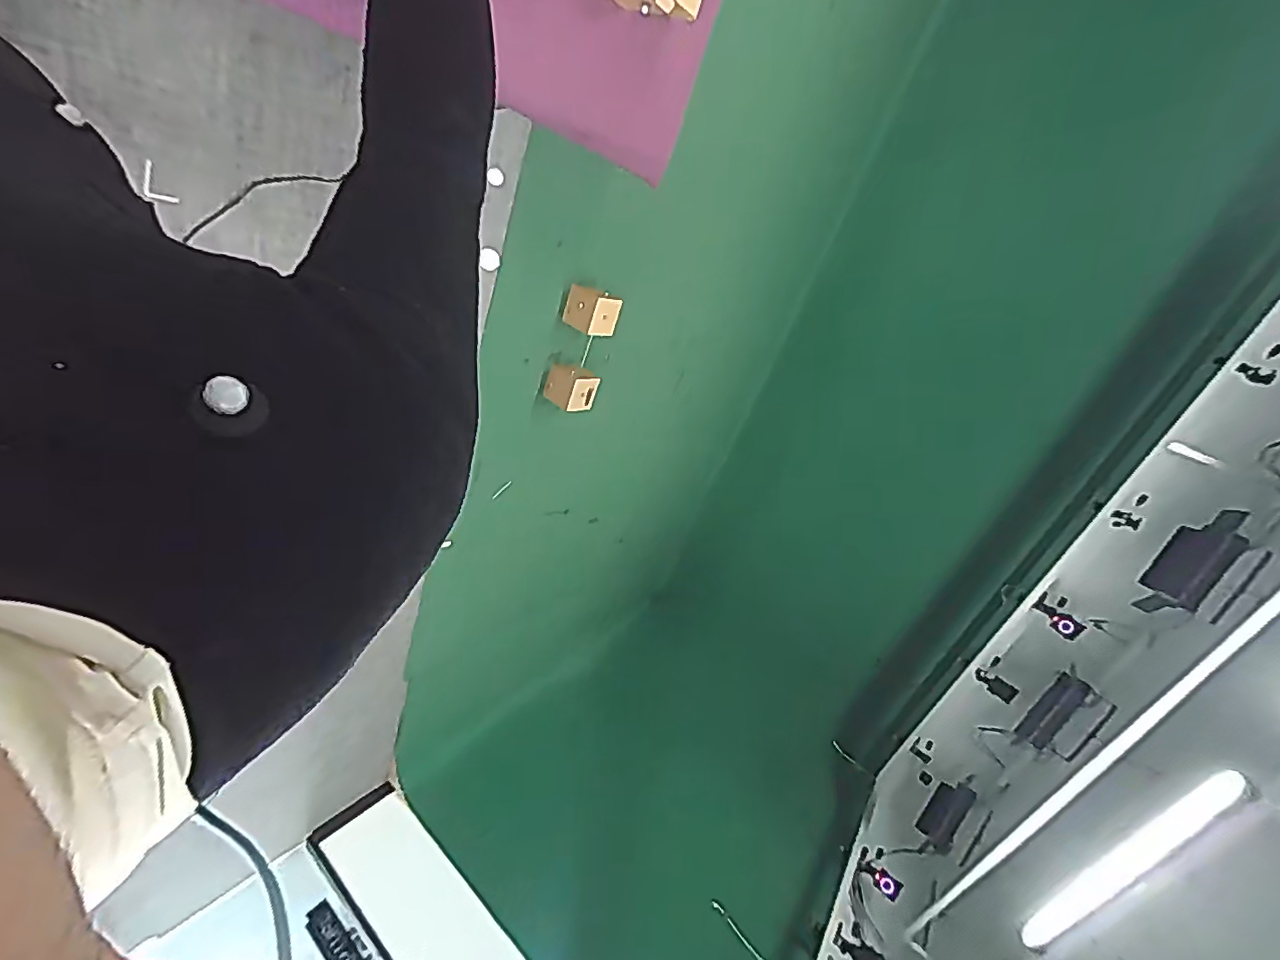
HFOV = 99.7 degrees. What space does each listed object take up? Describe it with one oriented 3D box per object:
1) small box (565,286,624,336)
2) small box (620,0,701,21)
[{"bbox_3d":[-0.204,-0.749,2.393,0.179,0.176,0.168,-20,137,-53],"label":"small box"},{"bbox_3d":[0.015,-0.901,0.878,0.168,0.176,0.179,-19,136,-53],"label":"small box"}]
